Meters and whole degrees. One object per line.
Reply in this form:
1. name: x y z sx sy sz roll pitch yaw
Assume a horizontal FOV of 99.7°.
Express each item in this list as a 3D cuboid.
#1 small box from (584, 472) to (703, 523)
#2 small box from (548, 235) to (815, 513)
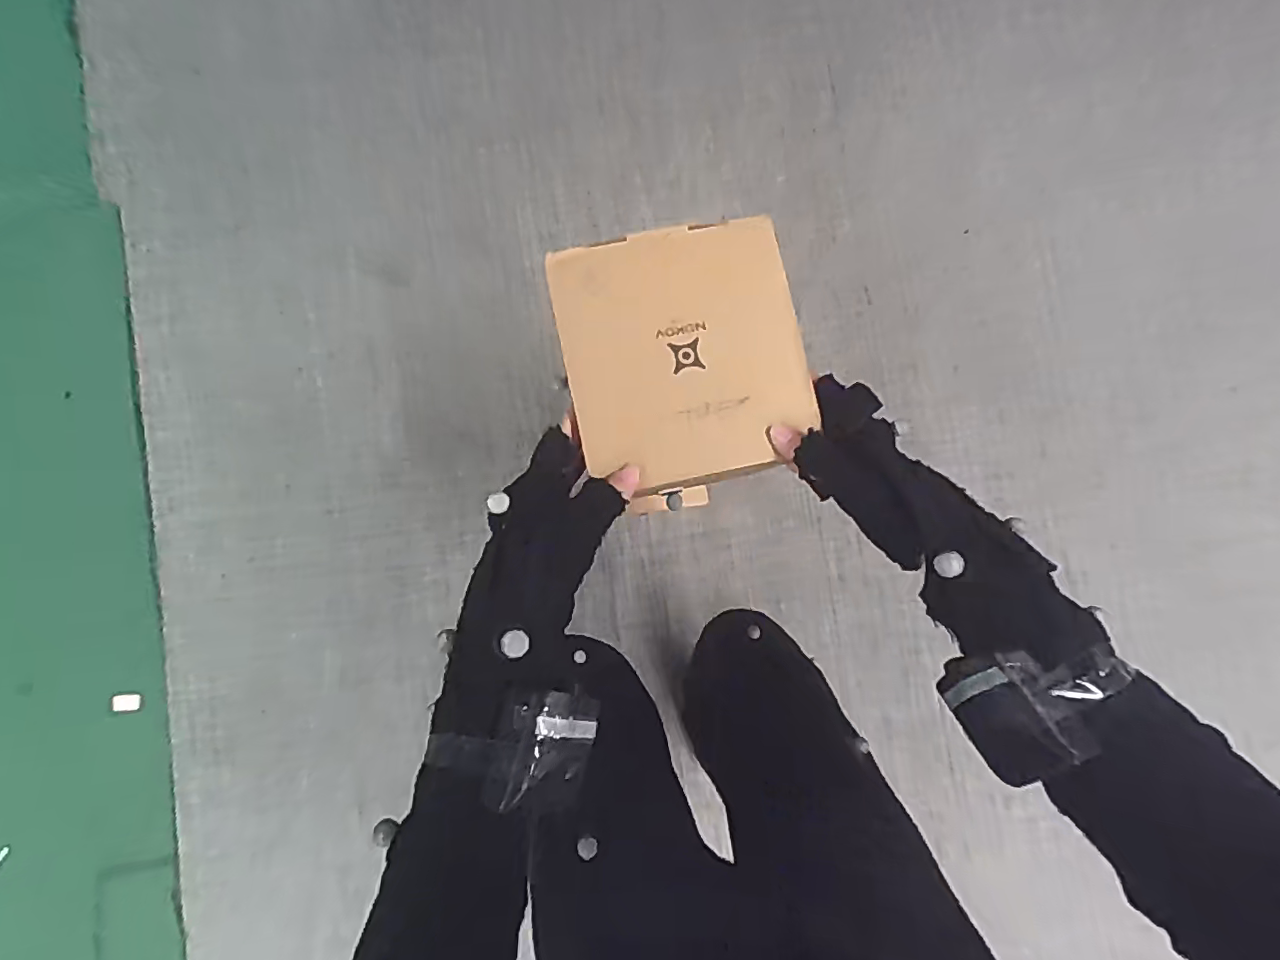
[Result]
1. small box: 0.002 -0.018 0.897 0.179 0.176 0.168 -8 87 0
2. small box: 0.023 -0.074 0.466 0.168 0.176 0.179 -13 86 -5
